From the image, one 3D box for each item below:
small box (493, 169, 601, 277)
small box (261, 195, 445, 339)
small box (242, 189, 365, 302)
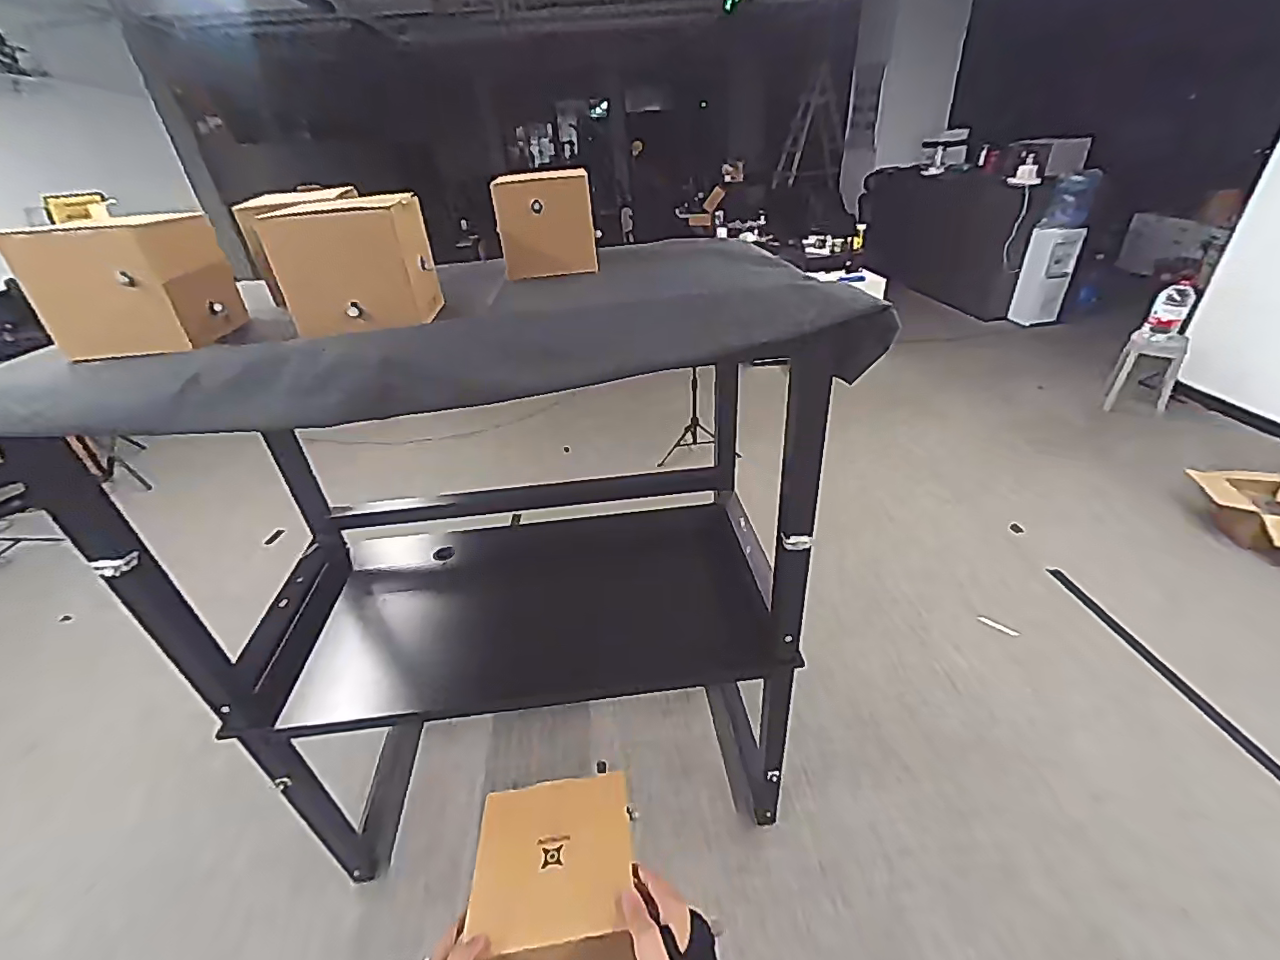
[{"bbox_3d":[-0.176,-0.508,1.070,0.179,0.176,0.168,-6,34,-3],"label":"small box"},{"bbox_3d":[-0.409,-0.321,0.812,0.179,0.176,0.168,-6,32,-4],"label":"small box"},{"bbox_3d":[-0.603,-0.447,1.030,0.168,0.176,0.179,-11,34,-8],"label":"small box"}]
